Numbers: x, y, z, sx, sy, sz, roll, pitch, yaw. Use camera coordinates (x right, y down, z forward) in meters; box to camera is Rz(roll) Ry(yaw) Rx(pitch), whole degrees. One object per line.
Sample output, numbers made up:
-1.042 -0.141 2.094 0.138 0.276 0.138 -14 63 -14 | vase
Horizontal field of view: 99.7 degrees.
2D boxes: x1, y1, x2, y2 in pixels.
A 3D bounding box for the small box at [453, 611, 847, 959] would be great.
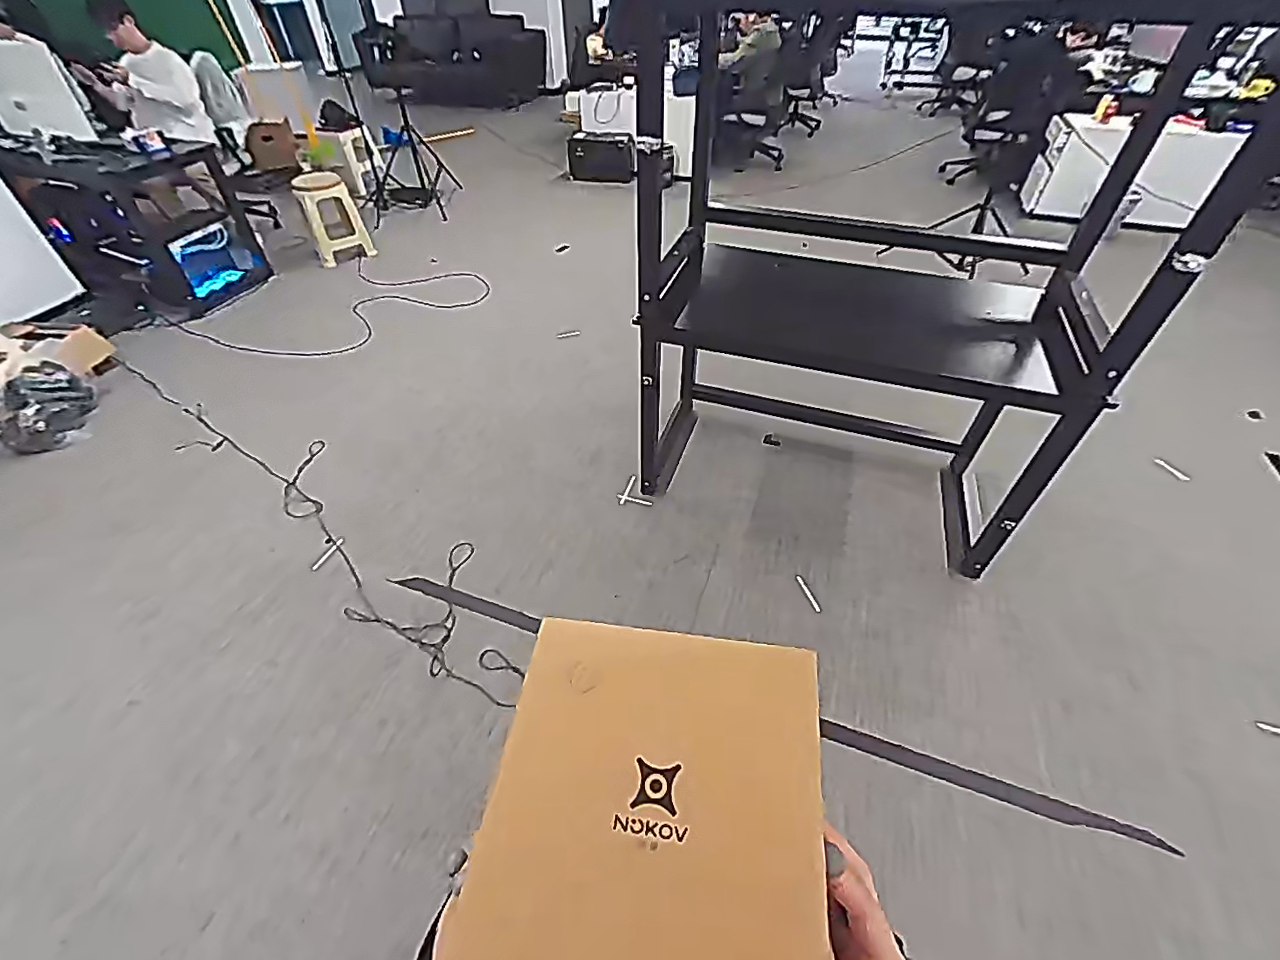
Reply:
0.018 0.204 0.327 0.168 0.176 0.179 5 51 8 | small box
